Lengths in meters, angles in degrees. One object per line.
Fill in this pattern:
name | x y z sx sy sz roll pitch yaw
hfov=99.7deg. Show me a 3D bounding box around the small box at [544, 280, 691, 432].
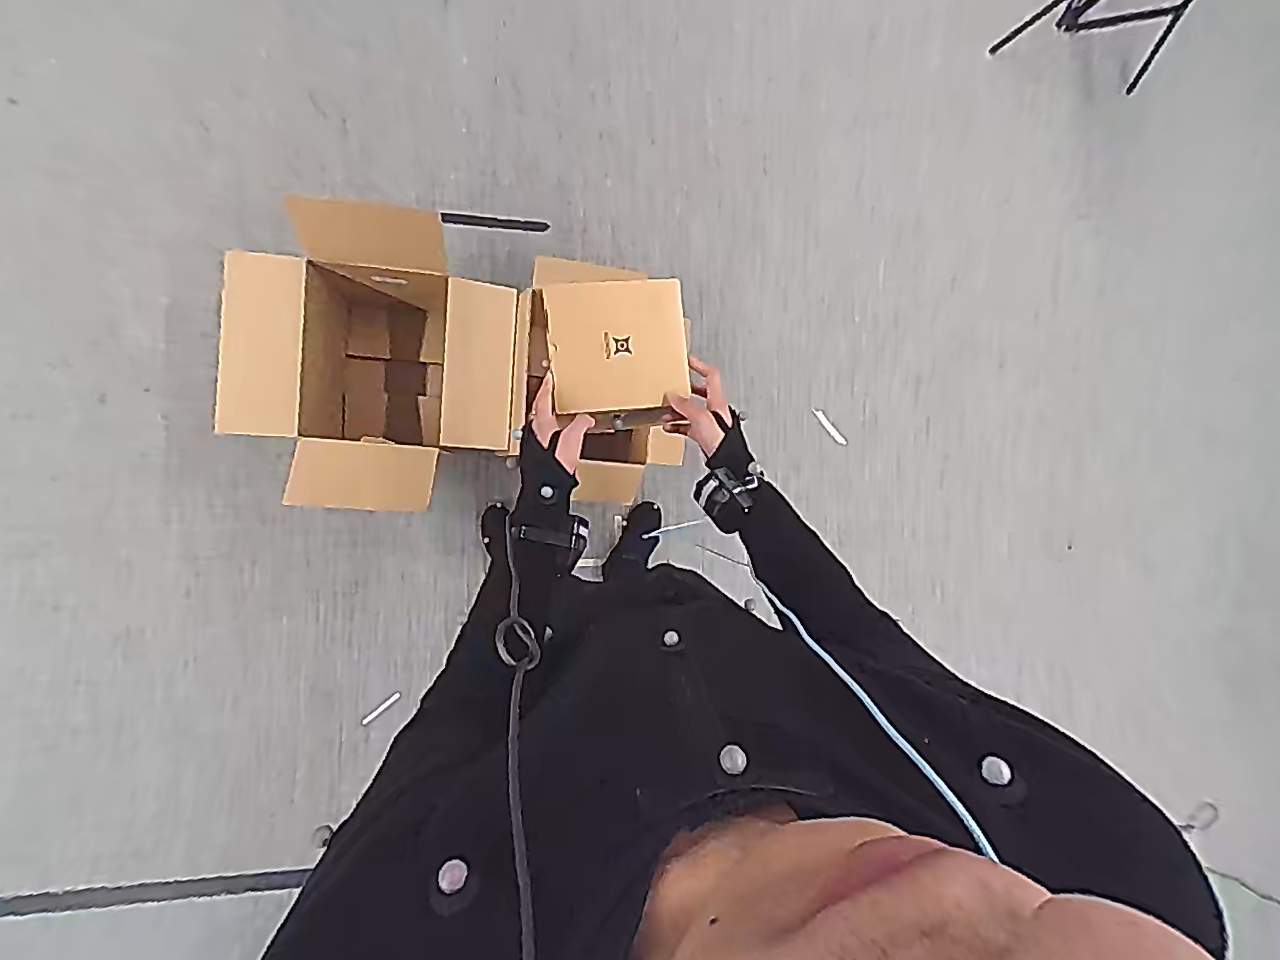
small box | -0.037 -0.164 0.755 0.179 0.176 0.168 -6 88 -6
